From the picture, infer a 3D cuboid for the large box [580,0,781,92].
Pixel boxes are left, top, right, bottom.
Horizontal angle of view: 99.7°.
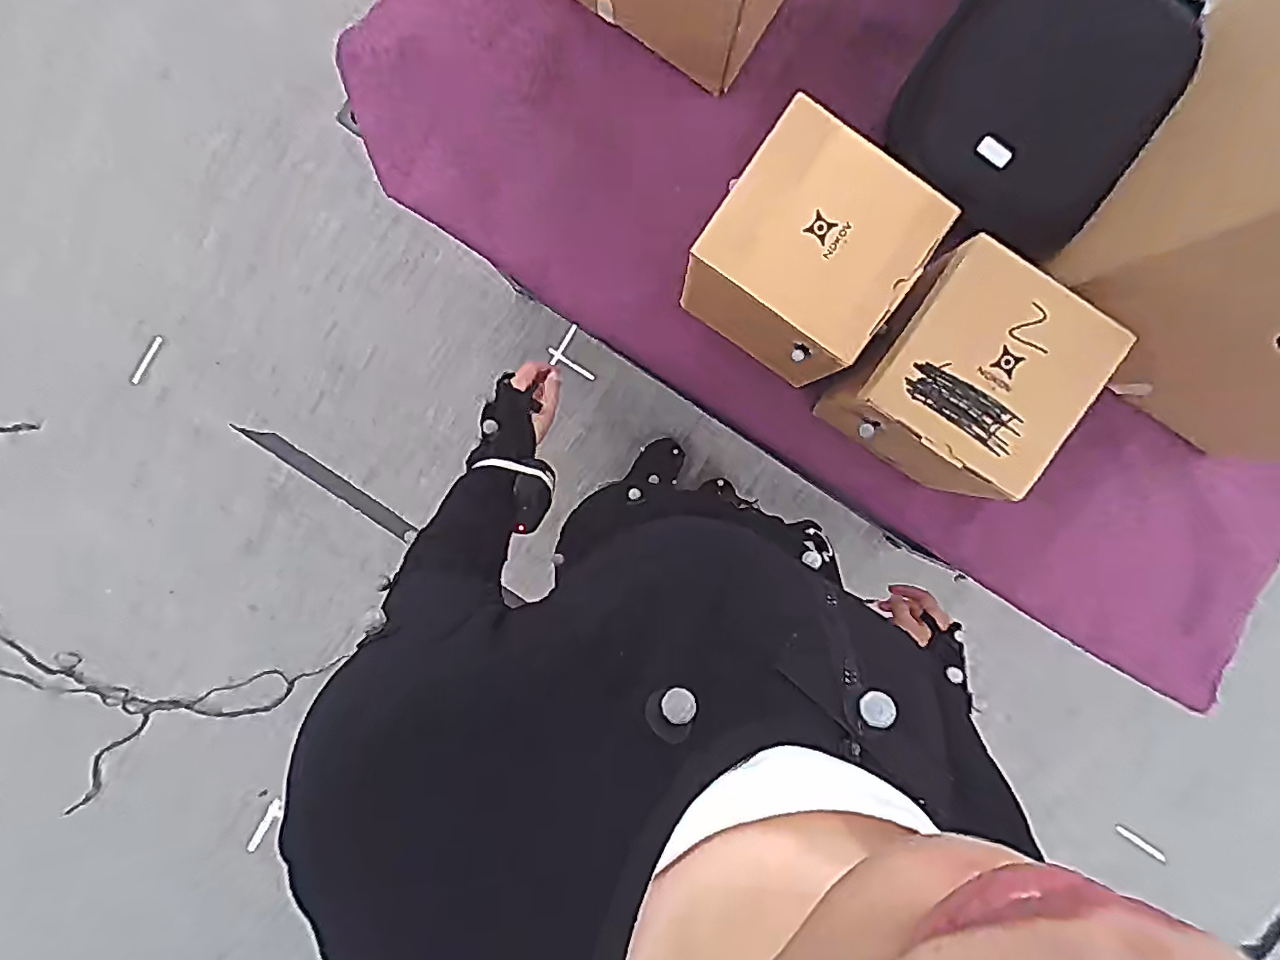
[{"bbox_3d":[0.073,-0.665,0.442,0.320,0.320,0.408,32,97,-3],"label":"large box"}]
